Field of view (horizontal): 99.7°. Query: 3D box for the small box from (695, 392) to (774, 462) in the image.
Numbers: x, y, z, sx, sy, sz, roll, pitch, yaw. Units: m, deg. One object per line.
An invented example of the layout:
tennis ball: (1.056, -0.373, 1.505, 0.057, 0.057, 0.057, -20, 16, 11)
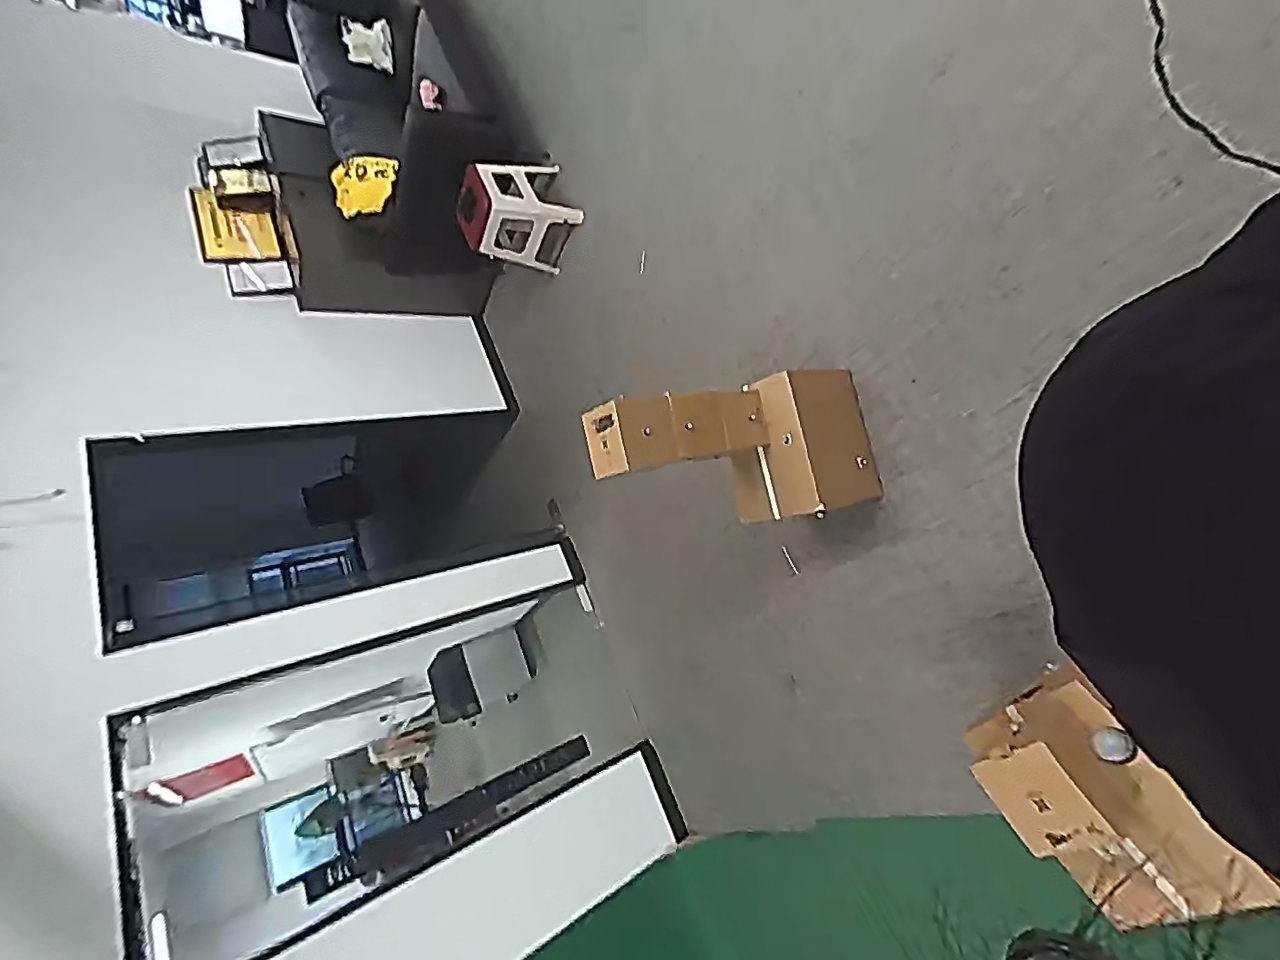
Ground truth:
small box: (0.259, -0.154, 1.580, 0.179, 0.176, 0.168, -18, 84, 55)

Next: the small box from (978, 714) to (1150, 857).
small box: (0.798, 0.567, 1.023, 0.179, 0.176, 0.168, 59, 138, 26)

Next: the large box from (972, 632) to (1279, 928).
large box: (1.028, 0.606, 1.140, 0.408, 0.320, 0.320, 55, 138, 28)

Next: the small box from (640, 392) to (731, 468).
small box: (0.127, -0.140, 1.488, 0.168, 0.176, 0.179, -15, 86, 55)
